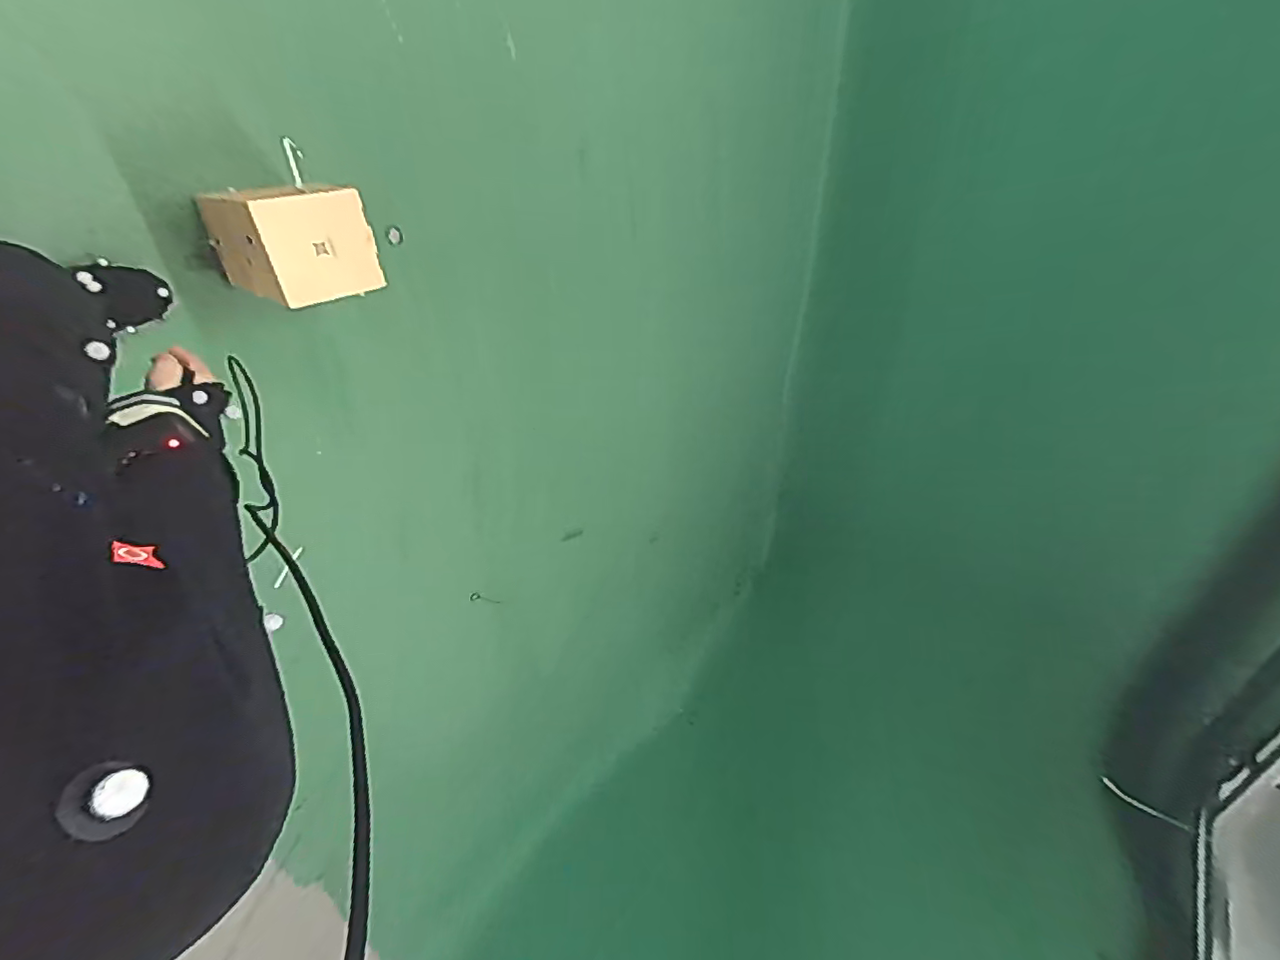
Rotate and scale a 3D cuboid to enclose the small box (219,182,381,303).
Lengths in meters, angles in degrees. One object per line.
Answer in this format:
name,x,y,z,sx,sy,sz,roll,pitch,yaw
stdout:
small box,-0.603,-0.426,0.957,0.179,0.176,0.168,-35,135,-37
